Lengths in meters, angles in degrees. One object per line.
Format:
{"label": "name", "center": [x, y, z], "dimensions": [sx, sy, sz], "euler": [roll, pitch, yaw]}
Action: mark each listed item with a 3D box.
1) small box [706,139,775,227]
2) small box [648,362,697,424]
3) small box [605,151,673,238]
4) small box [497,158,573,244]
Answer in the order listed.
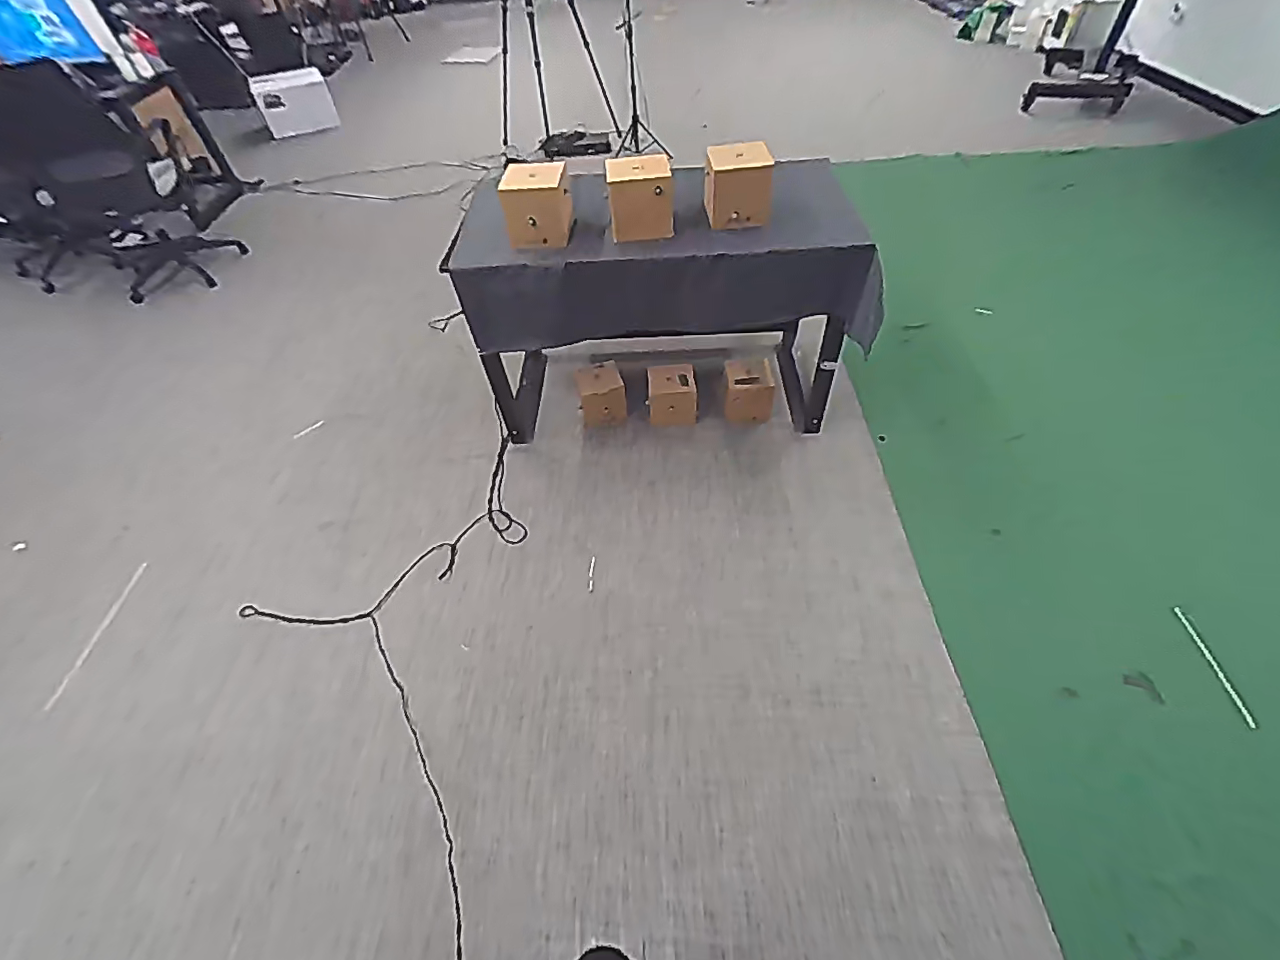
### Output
{"label": "small box", "center": [0.279, -0.844, 1.539], "dimensions": [0.168, 0.176, 0.179], "euler": [-4, 50, 2]}
{"label": "small box", "center": [0.123, -0.331, 2.071], "dimensions": [0.179, 0.176, 0.168], "euler": [-4, 50, 3]}
{"label": "small box", "center": [-0.001, -0.803, 1.530], "dimensions": [0.179, 0.176, 0.168], "euler": [-5, 50, 0]}
{"label": "small box", "center": [-0.290, -0.787, 1.536], "dimensions": [0.168, 0.176, 0.179], "euler": [0, 50, 4]}
